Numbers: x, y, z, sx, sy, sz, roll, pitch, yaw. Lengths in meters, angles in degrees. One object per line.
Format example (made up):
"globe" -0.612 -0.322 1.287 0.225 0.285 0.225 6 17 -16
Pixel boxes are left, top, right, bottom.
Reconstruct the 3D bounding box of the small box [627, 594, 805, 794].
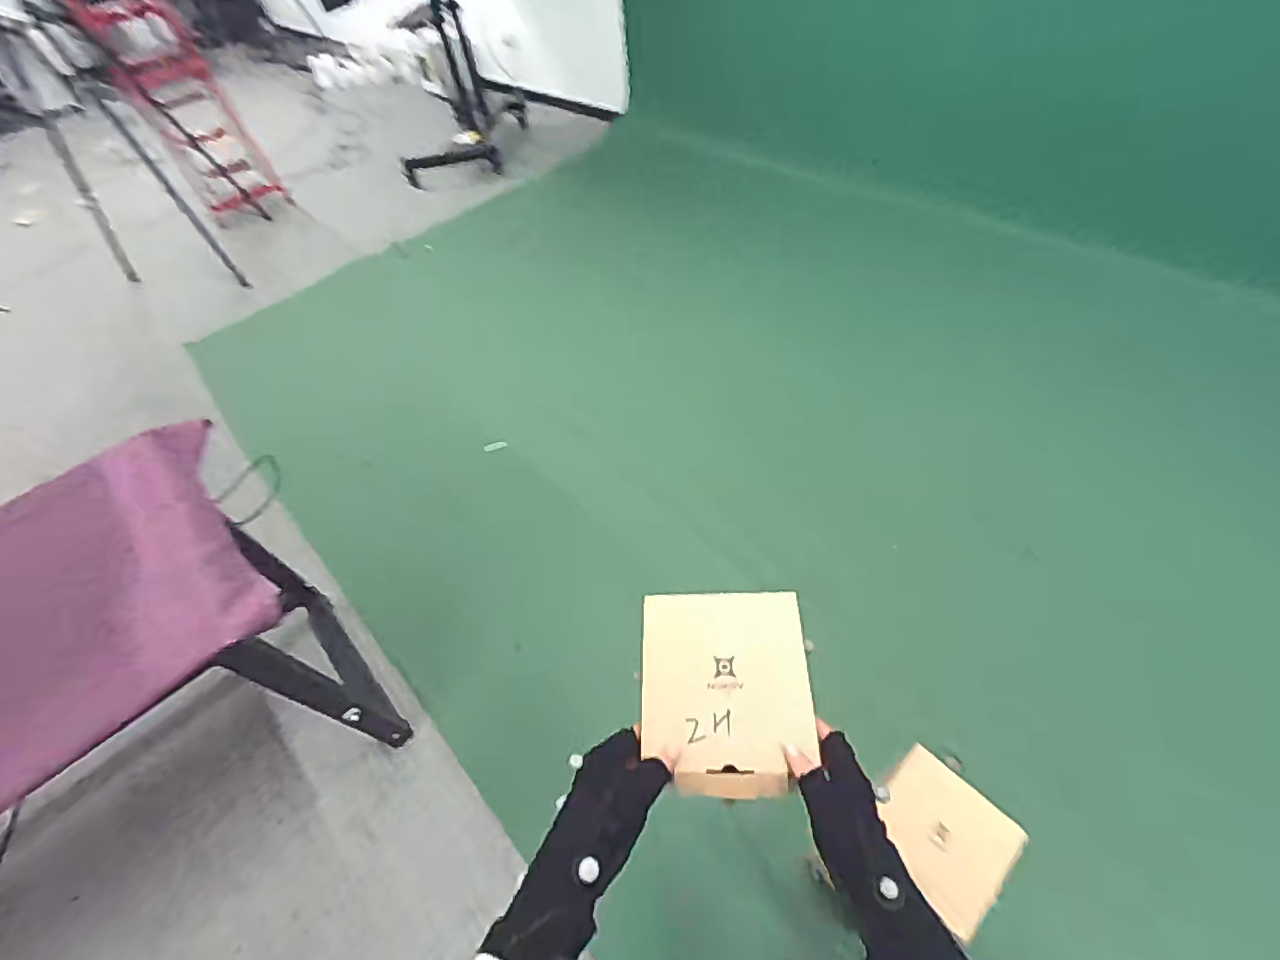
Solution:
"small box" 0.080 0.243 0.608 0.168 0.176 0.179 -4 55 6

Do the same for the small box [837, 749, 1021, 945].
"small box" 0.429 0.558 0.832 0.179 0.176 0.168 -39 57 -22

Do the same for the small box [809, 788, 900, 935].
"small box" 0.460 0.764 1.085 0.179 0.176 0.168 -37 56 -21
